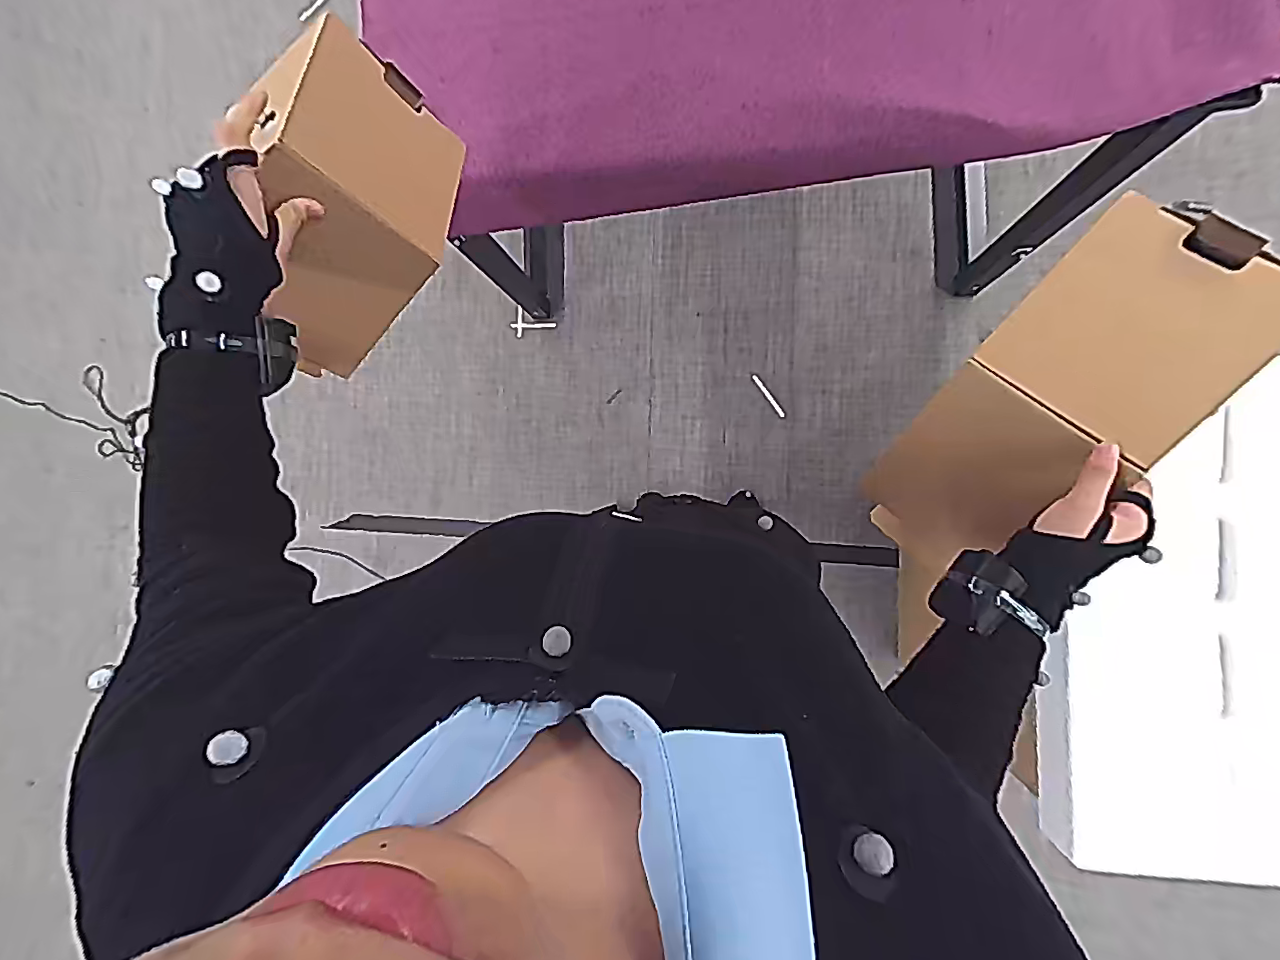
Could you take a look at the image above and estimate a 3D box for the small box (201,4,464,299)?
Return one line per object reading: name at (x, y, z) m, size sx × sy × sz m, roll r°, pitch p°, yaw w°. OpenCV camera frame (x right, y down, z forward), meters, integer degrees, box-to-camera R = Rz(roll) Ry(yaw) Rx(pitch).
small box at (-0.320, -0.325, 0.574) m, size 0.176 × 0.168 × 0.179 m, roll -10°, pitch 65°, yaw 30°
